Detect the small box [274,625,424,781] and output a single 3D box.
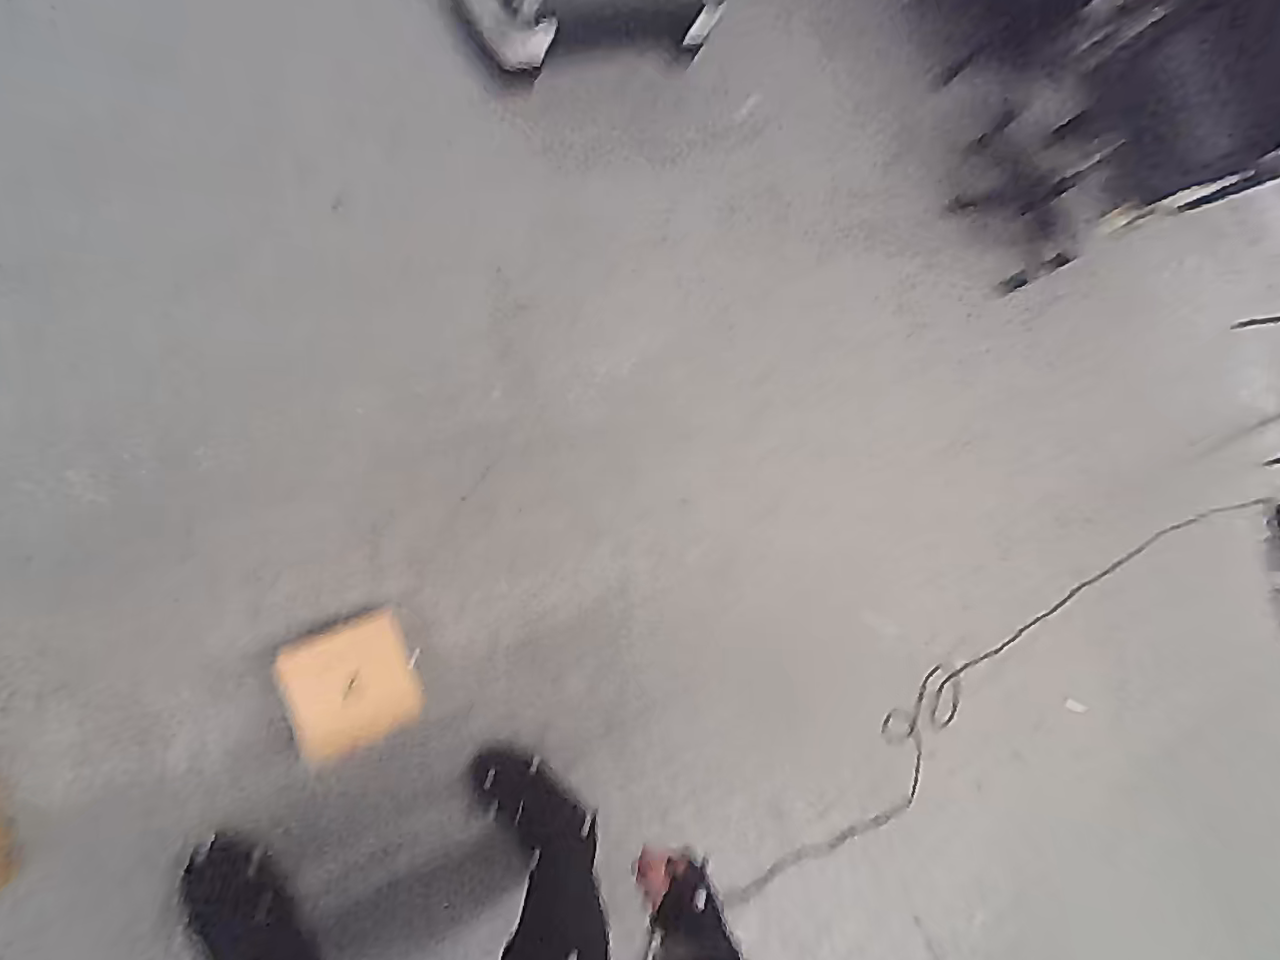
[{"bbox_3d":[-0.472,0.354,0.899,0.168,0.176,0.179,-21,86,-27],"label":"small box"}]
